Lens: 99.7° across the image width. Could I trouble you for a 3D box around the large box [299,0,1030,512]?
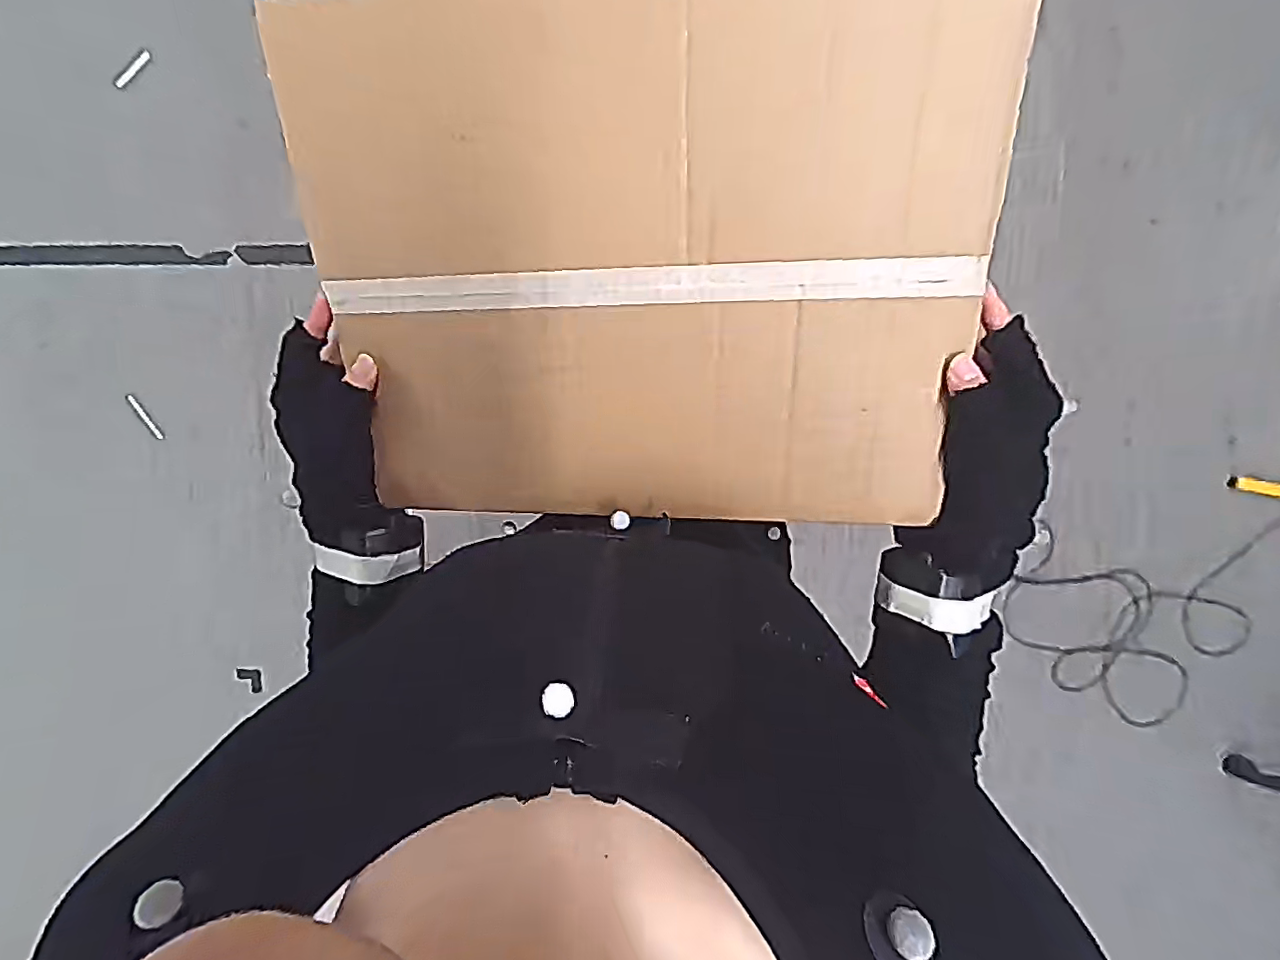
[{"bbox_3d":[0.021,-0.177,0.476,0.408,0.320,0.320,1,114,8],"label":"large box"}]
